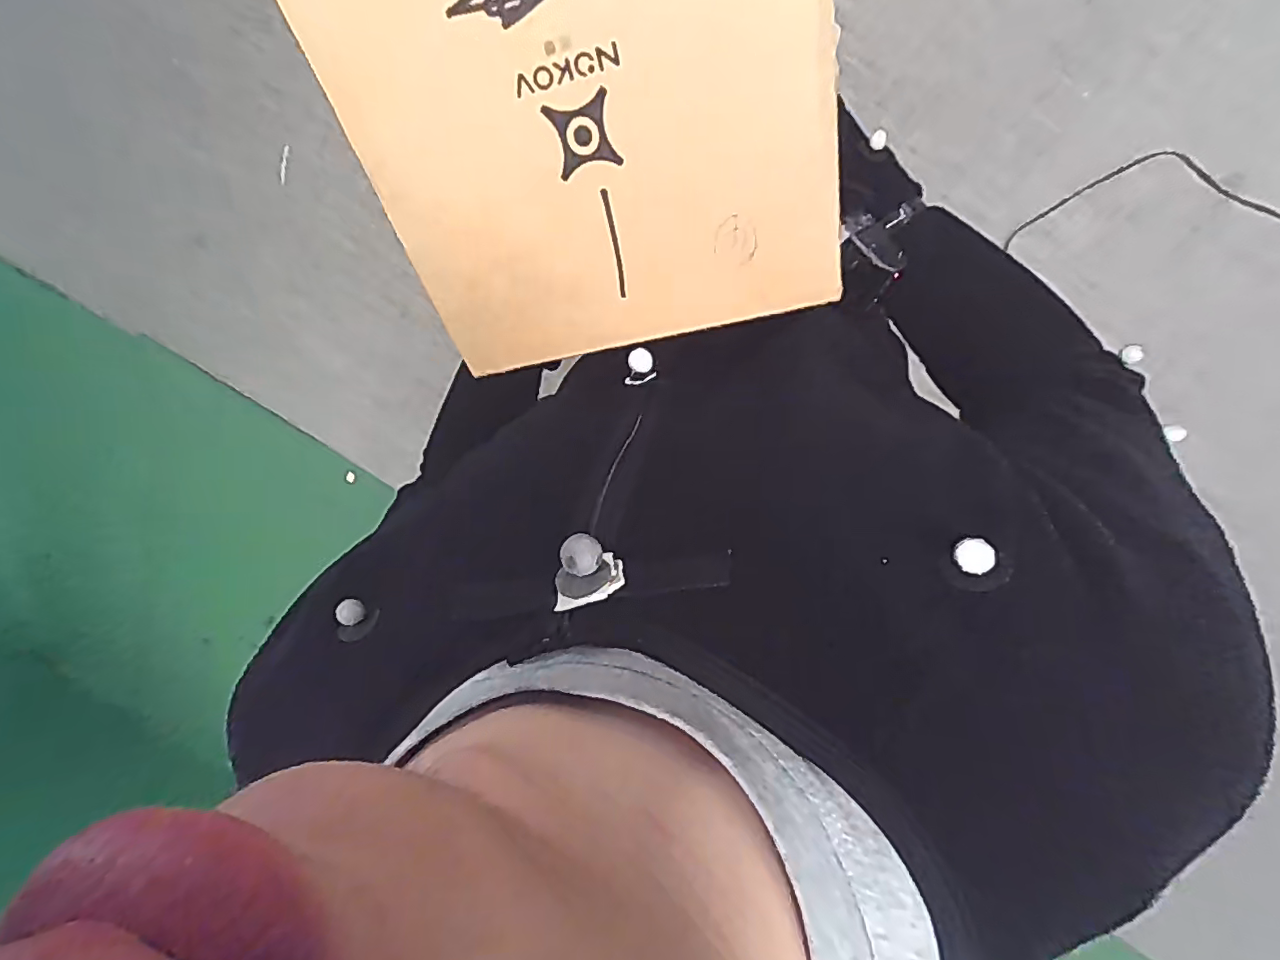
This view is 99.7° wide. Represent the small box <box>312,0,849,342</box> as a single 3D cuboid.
[{"bbox_3d":[-0.012,-0.190,0.238,0.168,0.176,0.179,-9,129,12],"label":"small box"}]
